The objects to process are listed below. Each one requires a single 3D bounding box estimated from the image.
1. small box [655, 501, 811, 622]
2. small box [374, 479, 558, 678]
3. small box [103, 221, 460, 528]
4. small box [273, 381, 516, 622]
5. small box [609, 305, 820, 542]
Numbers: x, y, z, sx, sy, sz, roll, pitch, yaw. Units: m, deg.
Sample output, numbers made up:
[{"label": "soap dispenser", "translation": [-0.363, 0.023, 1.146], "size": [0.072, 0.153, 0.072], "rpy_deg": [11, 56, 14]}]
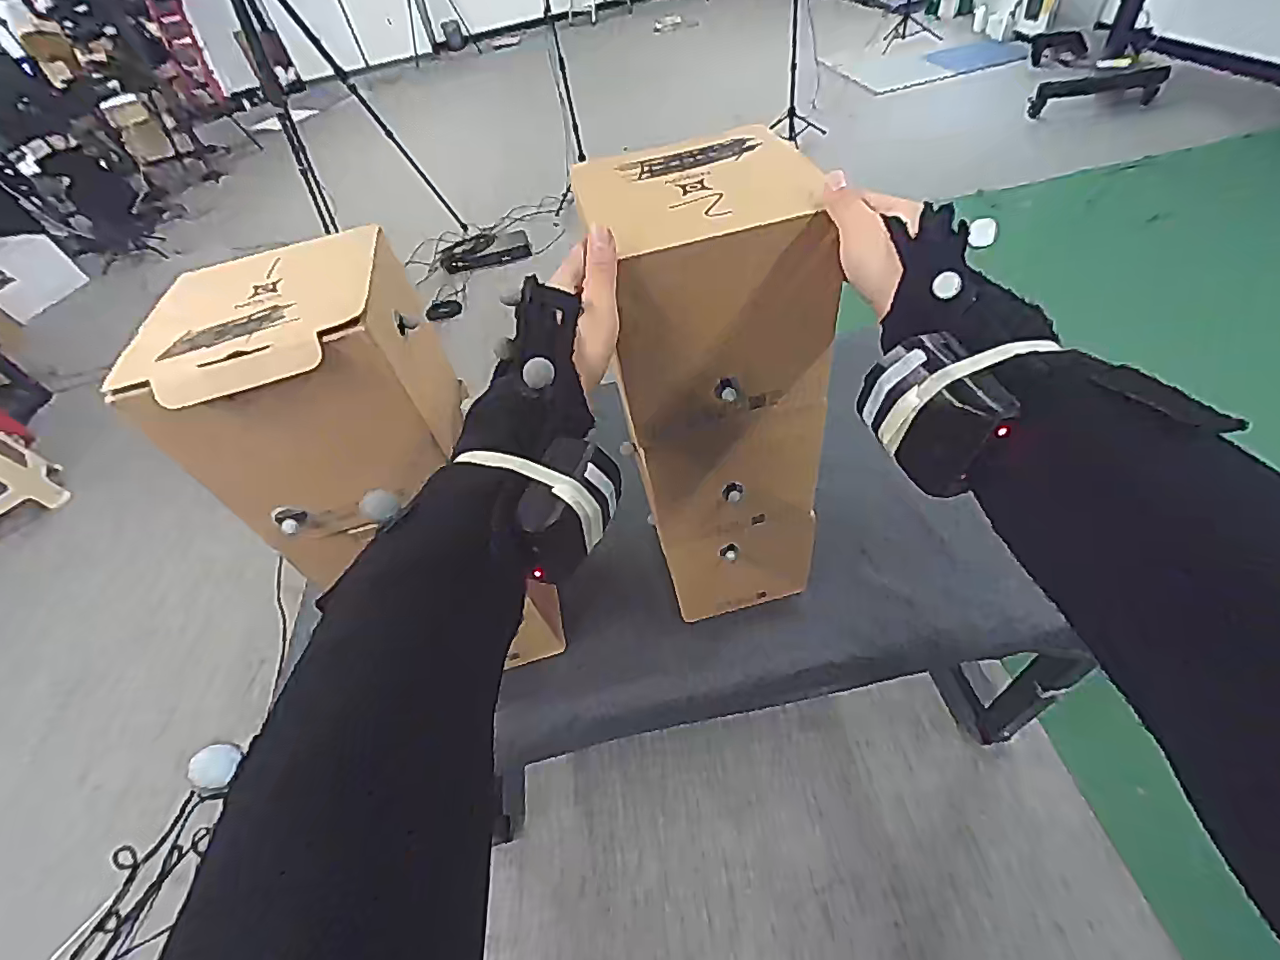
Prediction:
[{"label": "small box", "translation": [0.103, 0.054, 0.699], "size": [0.168, 0.176, 0.179], "rpy_deg": [-15, 47, -1]}, {"label": "small box", "translation": [-0.211, 0.133, 0.691], "size": [0.168, 0.176, 0.179], "rpy_deg": [-16, 48, -3]}, {"label": "small box", "translation": [-0.259, -0.081, 0.448], "size": [0.168, 0.176, 0.179], "rpy_deg": [-16, 47, -5]}, {"label": "small box", "translation": [-0.237, 0.029, 0.569], "size": [0.168, 0.176, 0.179], "rpy_deg": [-15, 46, -4]}, {"label": "small box", "translation": [0.073, -0.052, 0.574], "size": [0.168, 0.176, 0.179], "rpy_deg": [-14, 48, -2]}]
